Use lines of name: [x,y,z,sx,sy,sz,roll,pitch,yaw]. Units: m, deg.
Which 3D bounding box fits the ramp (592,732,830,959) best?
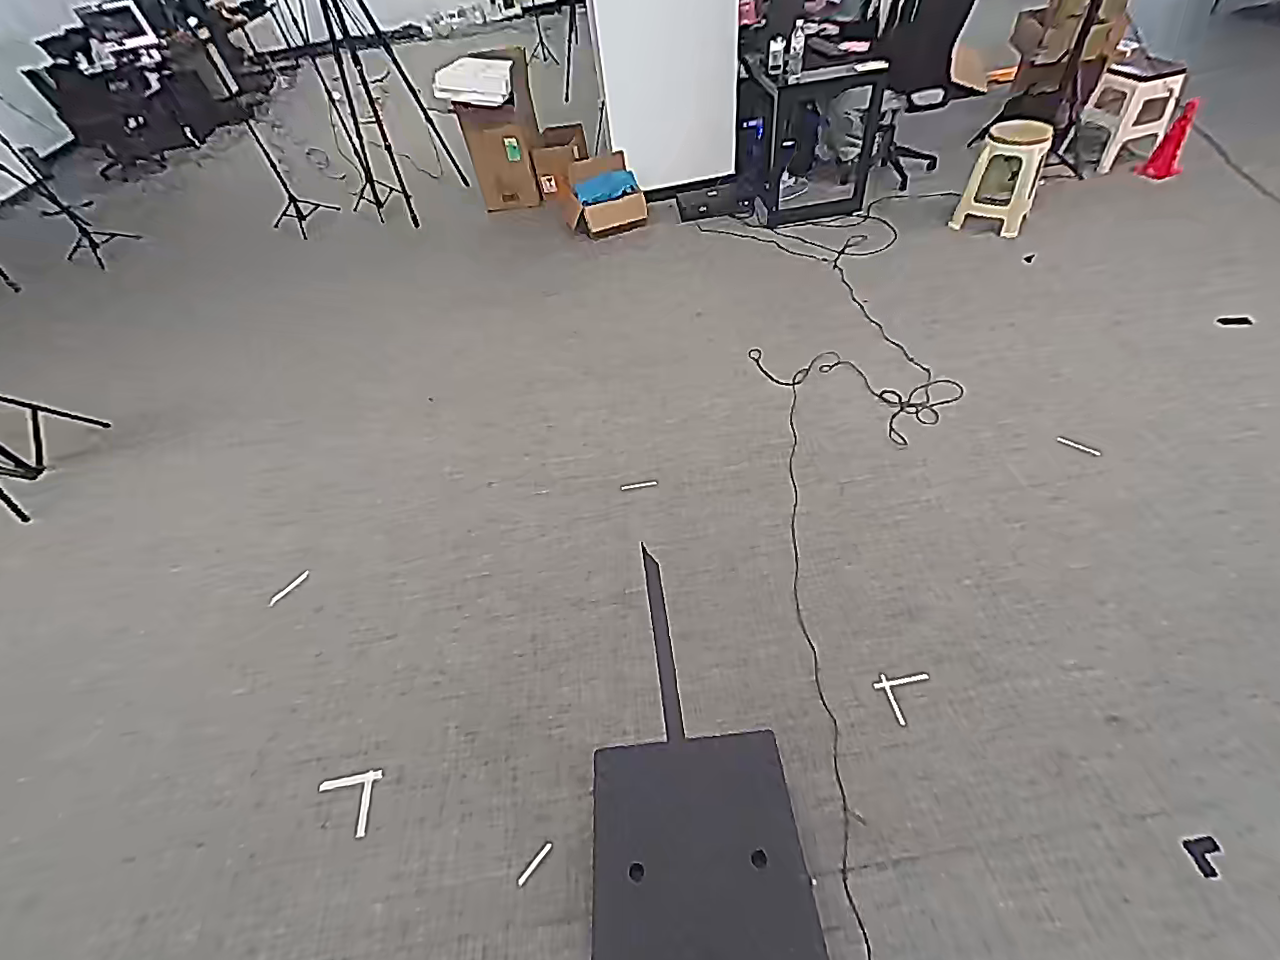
ramp: [0.144,1.022,1.077,0.509,0.206,0.991,-10,48,2]
